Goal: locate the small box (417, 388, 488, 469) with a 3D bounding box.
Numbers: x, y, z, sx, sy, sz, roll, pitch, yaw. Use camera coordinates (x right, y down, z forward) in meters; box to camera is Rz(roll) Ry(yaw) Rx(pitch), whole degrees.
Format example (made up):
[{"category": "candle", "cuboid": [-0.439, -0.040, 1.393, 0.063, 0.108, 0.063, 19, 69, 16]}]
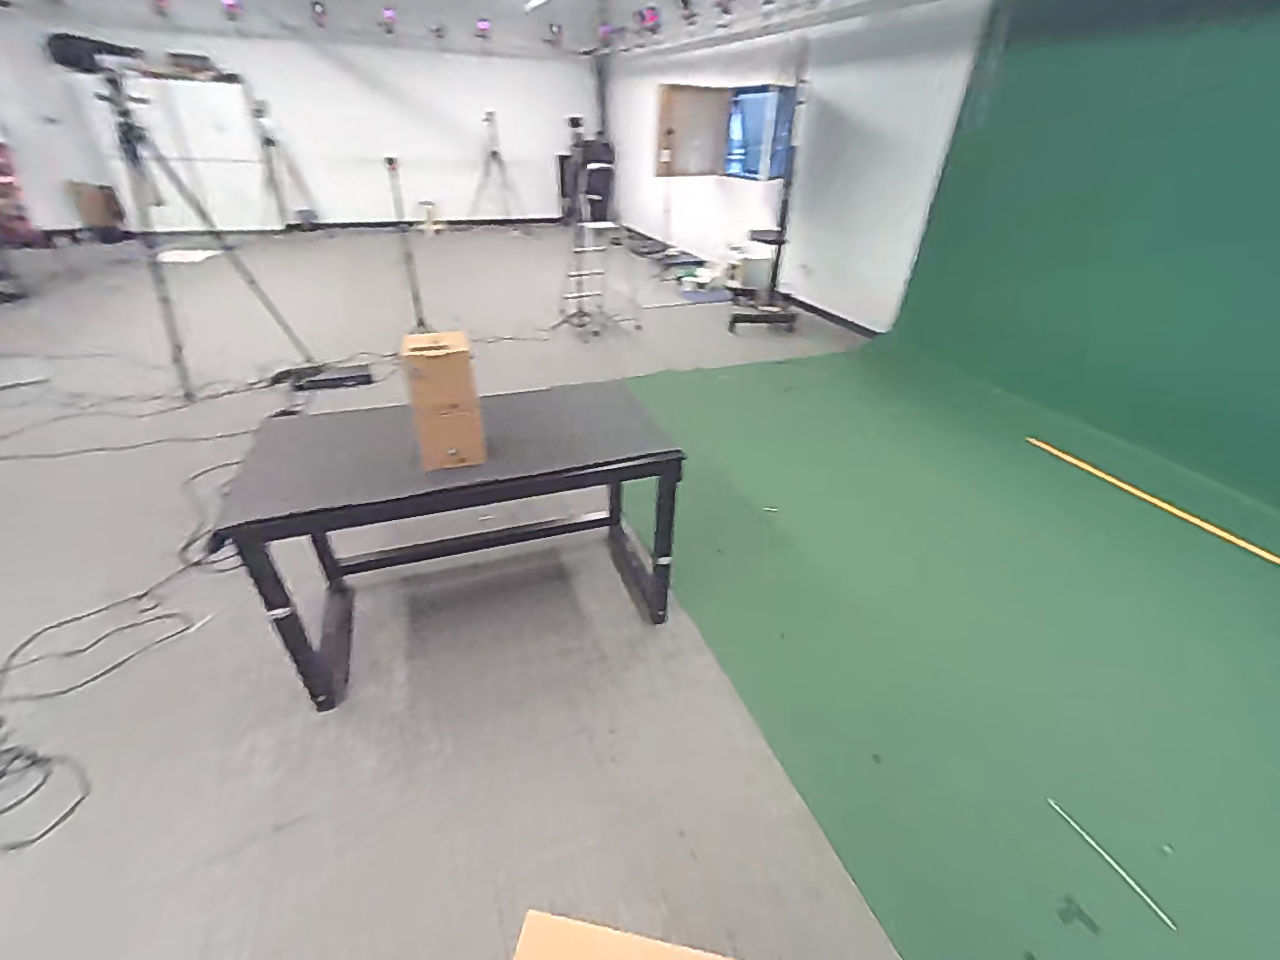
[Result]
[{"category": "small box", "cuboid": [-0.532, -0.150, 1.549, 0.168, 0.176, 0.179, -8, 34, -14]}]
